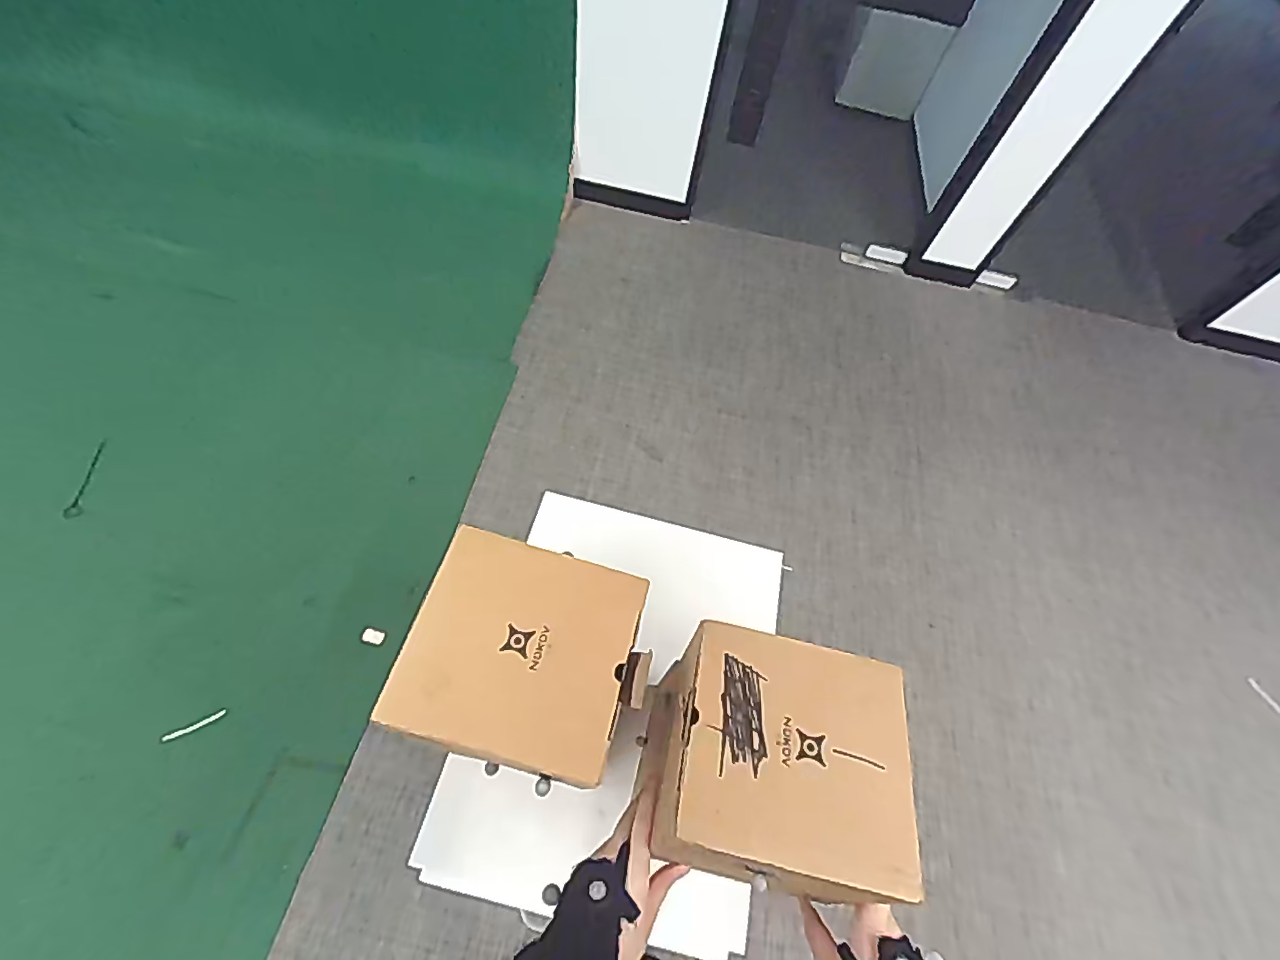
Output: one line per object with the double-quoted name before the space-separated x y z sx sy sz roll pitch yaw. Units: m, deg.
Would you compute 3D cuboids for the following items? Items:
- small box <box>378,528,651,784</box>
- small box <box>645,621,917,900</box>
"small box" -0.105 0.172 0.505 0.179 0.176 0.168 17 57 -1
"small box" 0.110 0.252 0.479 0.179 0.176 0.168 15 51 1
